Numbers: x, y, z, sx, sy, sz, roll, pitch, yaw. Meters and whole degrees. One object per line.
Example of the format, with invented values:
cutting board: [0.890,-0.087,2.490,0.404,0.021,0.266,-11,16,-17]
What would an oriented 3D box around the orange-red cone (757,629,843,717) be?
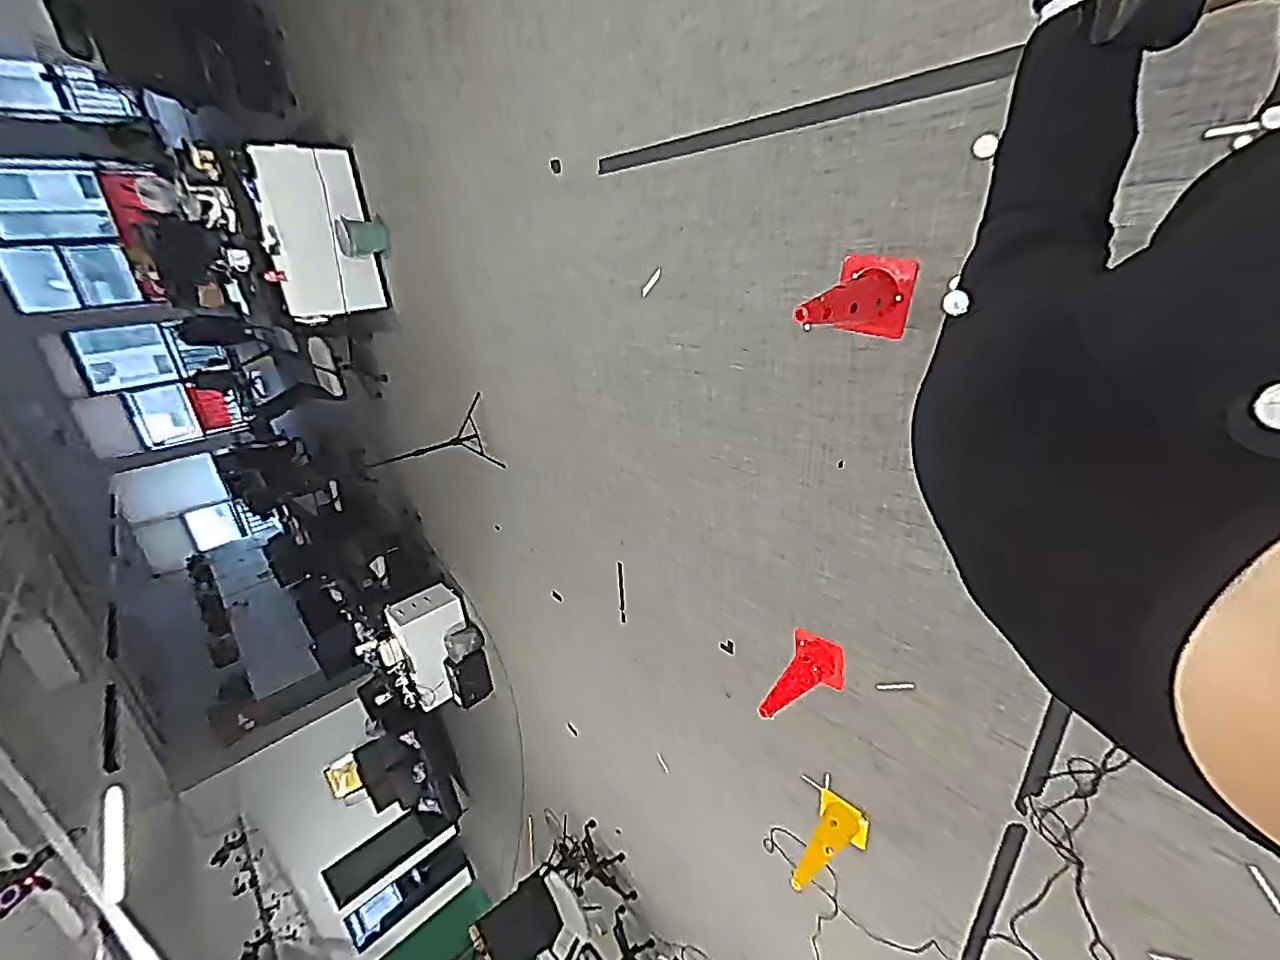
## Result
orange-red cone: [0.540,0.725,1.921,0.198,0.360,0.199,18,124,46]

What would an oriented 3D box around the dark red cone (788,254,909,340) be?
dark red cone: [0.483,-0.433,1.332,0.201,0.394,0.202,26,128,39]
